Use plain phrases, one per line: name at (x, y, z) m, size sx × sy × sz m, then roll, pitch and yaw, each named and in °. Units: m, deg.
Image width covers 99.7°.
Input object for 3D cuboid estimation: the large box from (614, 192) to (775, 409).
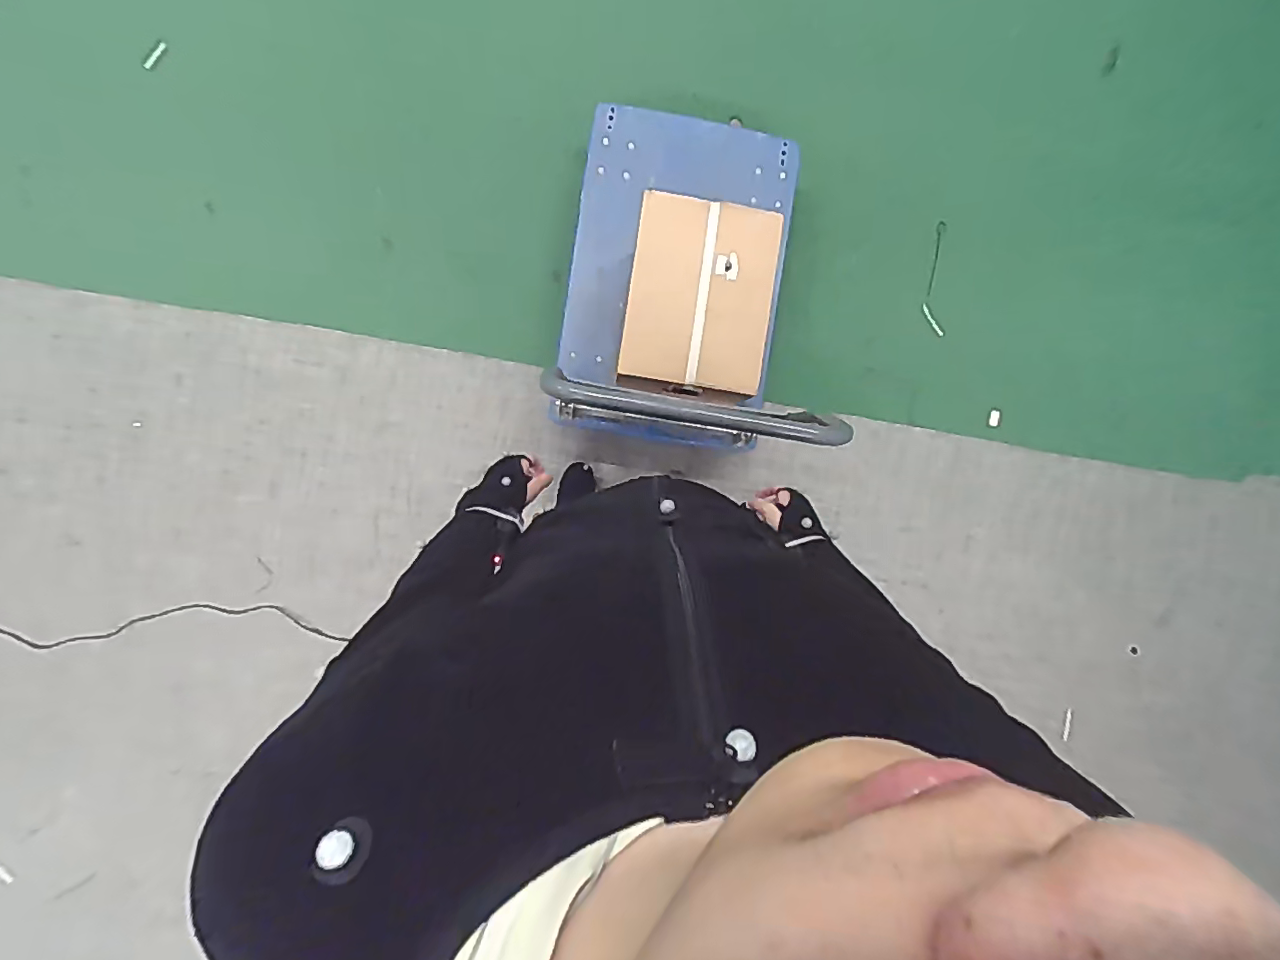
large box at (0.112, -0.405, 1.320) m, size 0.320 × 0.320 × 0.408 m, roll 8°, pitch 89°, yaw -5°
